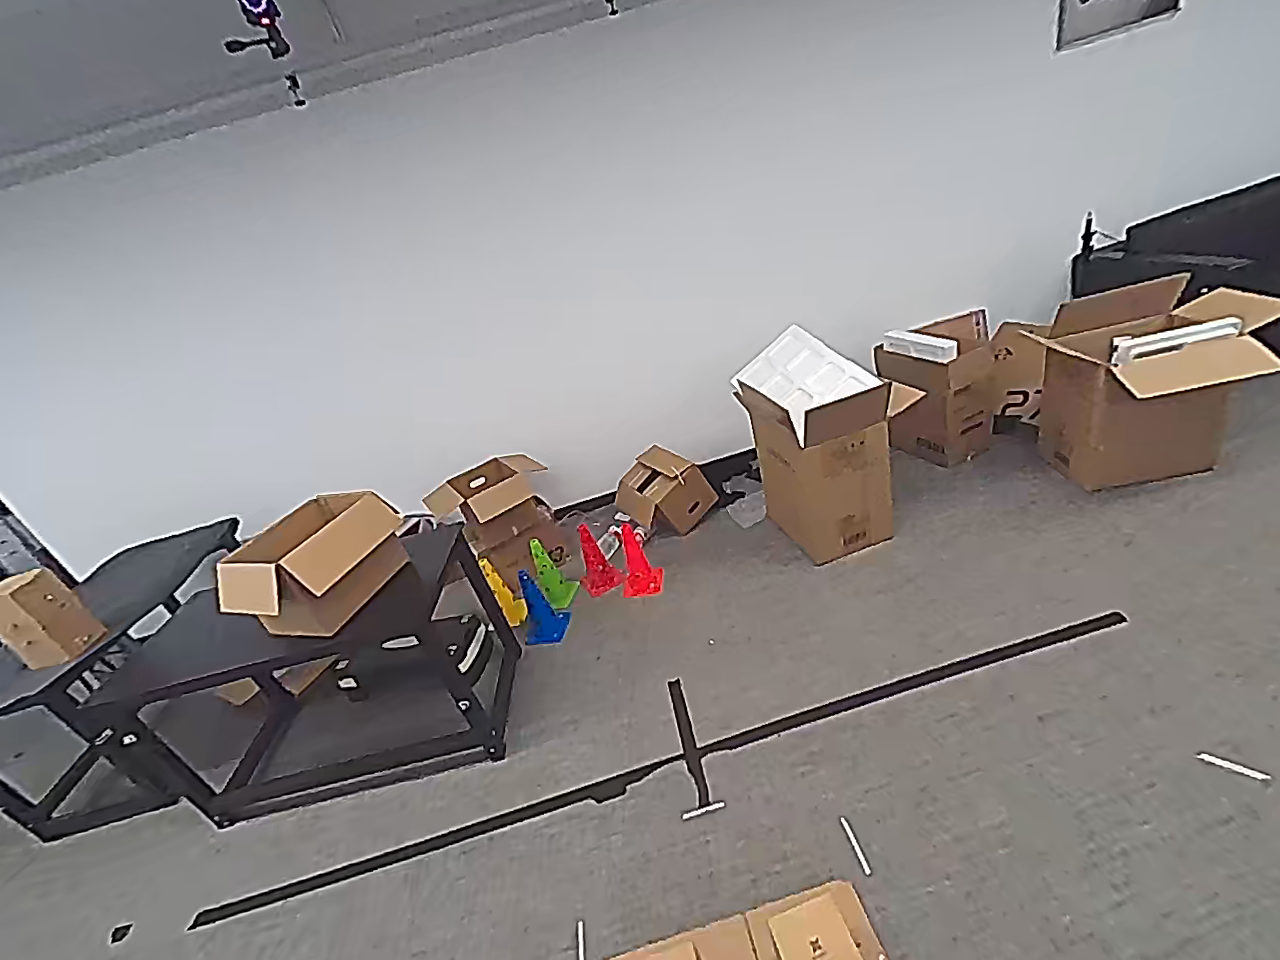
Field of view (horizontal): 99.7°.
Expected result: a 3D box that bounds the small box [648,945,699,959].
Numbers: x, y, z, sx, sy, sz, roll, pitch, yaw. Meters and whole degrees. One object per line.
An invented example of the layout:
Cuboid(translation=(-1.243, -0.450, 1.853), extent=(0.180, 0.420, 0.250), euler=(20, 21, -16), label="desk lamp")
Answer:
Cuboid(translation=(0.080, 1.211, 1.216), extent=(0.168, 0.176, 0.179), euler=(-19, 27, -2), label="small box")

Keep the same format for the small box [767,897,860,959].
Cuboid(translation=(0.409, 1.113, 1.230), extent=(0.168, 0.176, 0.179), euler=(-19, 27, -6), label="small box")
